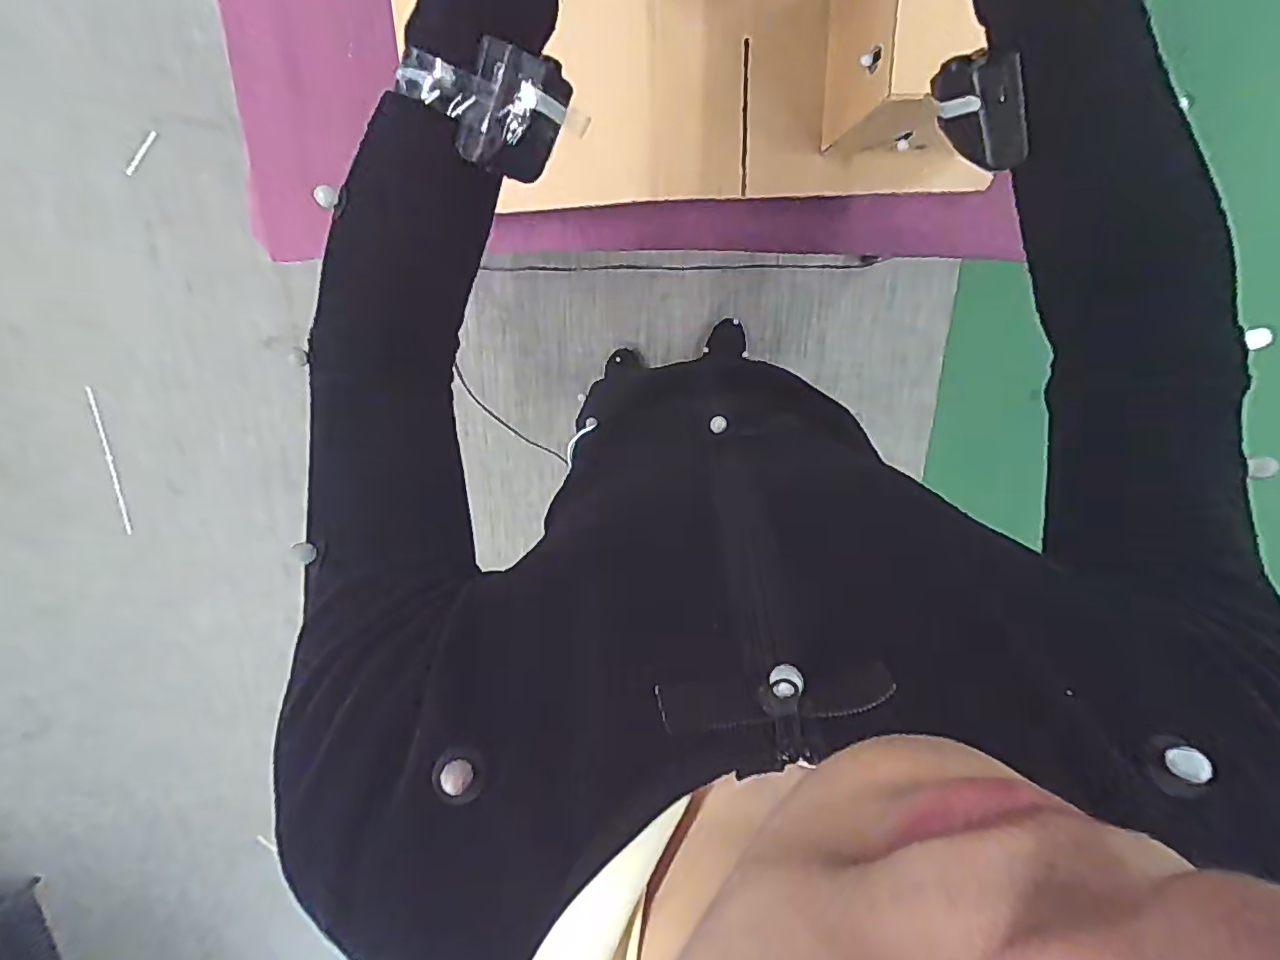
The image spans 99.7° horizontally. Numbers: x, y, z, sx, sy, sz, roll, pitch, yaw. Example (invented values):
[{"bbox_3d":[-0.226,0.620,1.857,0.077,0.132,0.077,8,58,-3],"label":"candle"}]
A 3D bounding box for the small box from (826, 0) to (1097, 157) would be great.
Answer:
[{"bbox_3d":[0.287,-0.428,0.511,0.168,0.176,0.179,-2,107,-1],"label":"small box"}]
